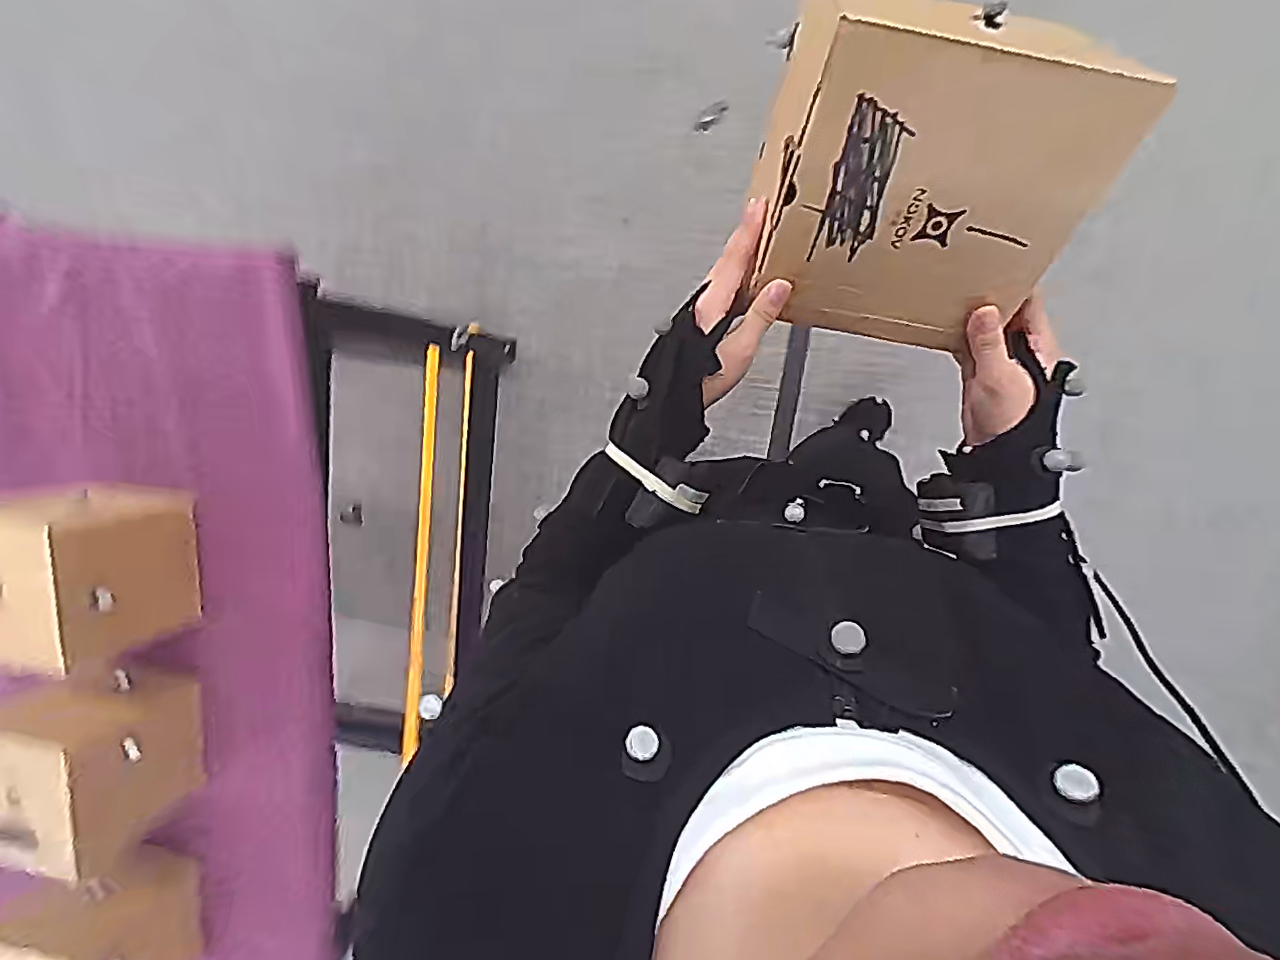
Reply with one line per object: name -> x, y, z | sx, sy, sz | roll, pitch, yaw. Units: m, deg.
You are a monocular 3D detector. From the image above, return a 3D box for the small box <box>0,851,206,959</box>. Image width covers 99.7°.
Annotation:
small box -> -0.767, 0.679, 0.774 | 0.168, 0.176, 0.179 | 4, 97, 8

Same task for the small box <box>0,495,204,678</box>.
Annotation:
small box -> -0.701, 0.121, 0.685 | 0.168, 0.176, 0.179 | 5, 100, 7
